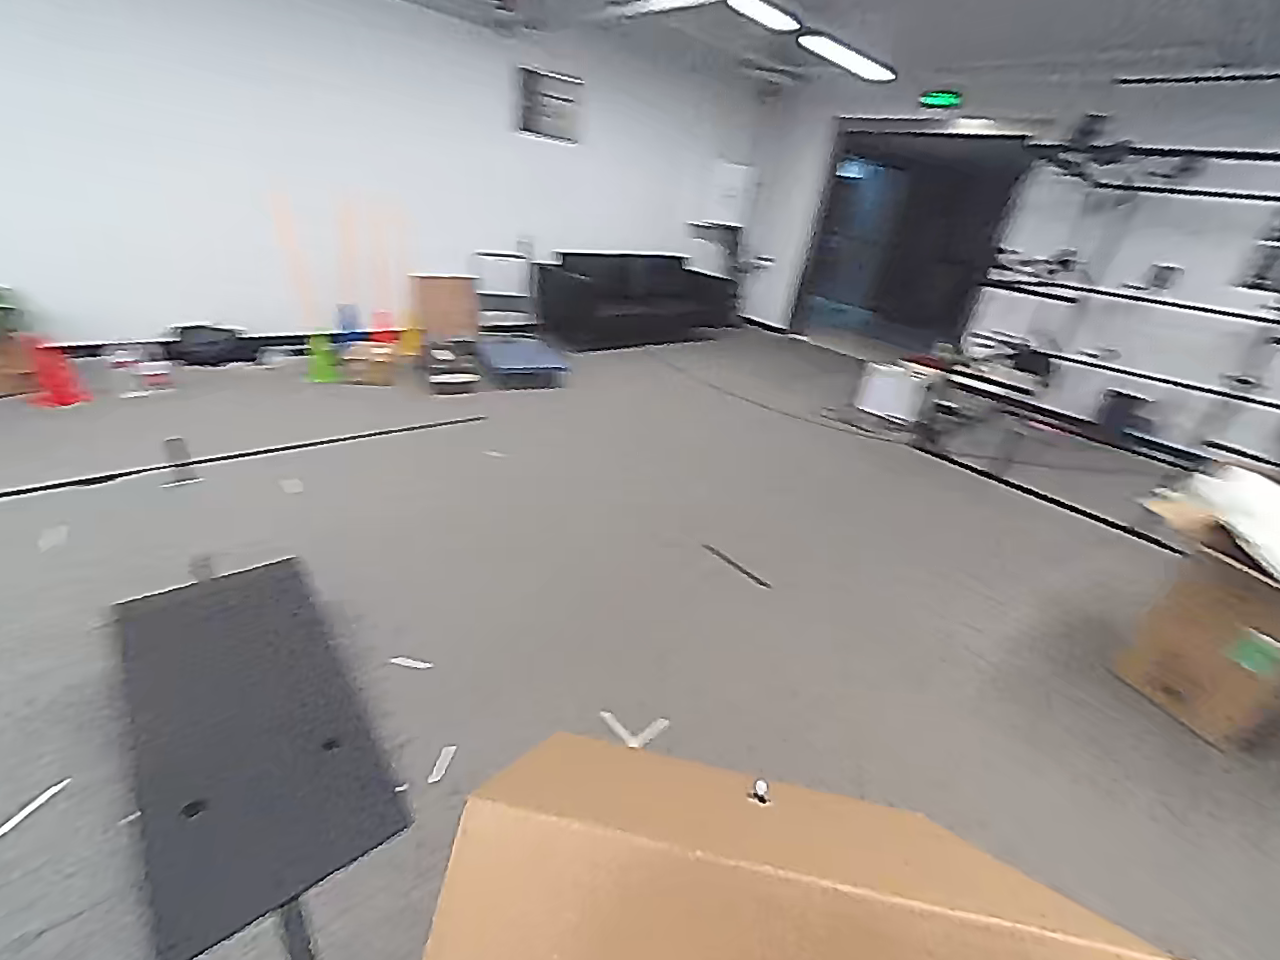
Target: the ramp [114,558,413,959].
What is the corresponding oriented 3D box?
[{"bbox_3d":[-1.046,0.618,1.465,0.509,0.206,0.991,-16,37,-41],"label":"ramp"}]
